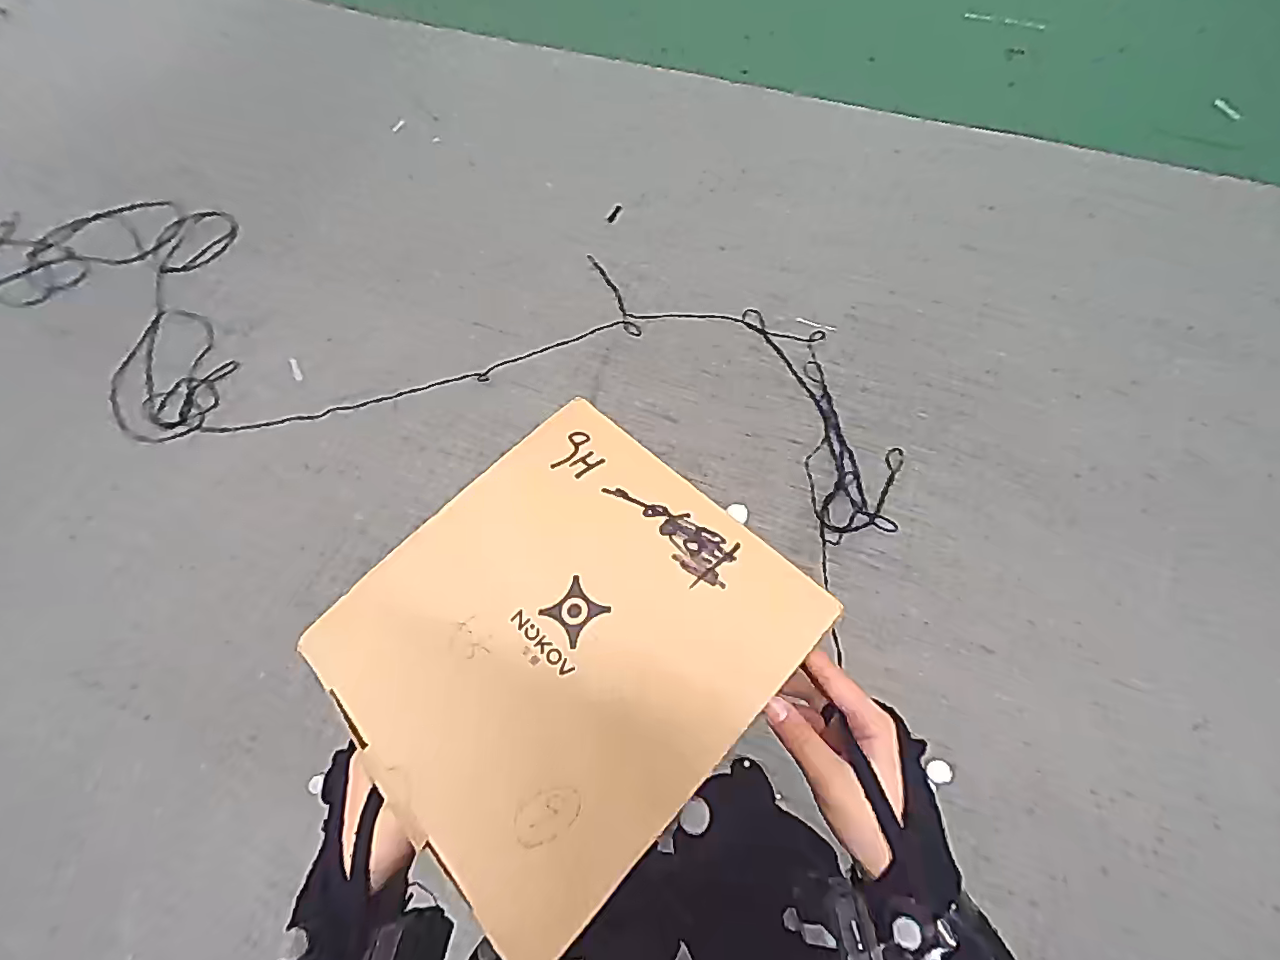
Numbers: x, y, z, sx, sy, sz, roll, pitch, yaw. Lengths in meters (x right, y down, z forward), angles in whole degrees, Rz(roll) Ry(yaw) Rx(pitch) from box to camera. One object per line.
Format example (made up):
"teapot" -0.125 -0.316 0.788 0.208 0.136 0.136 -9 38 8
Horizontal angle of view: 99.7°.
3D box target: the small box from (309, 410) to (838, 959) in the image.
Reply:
"small box" -0.023 0.103 0.299 0.179 0.176 0.168 -43 66 -14
